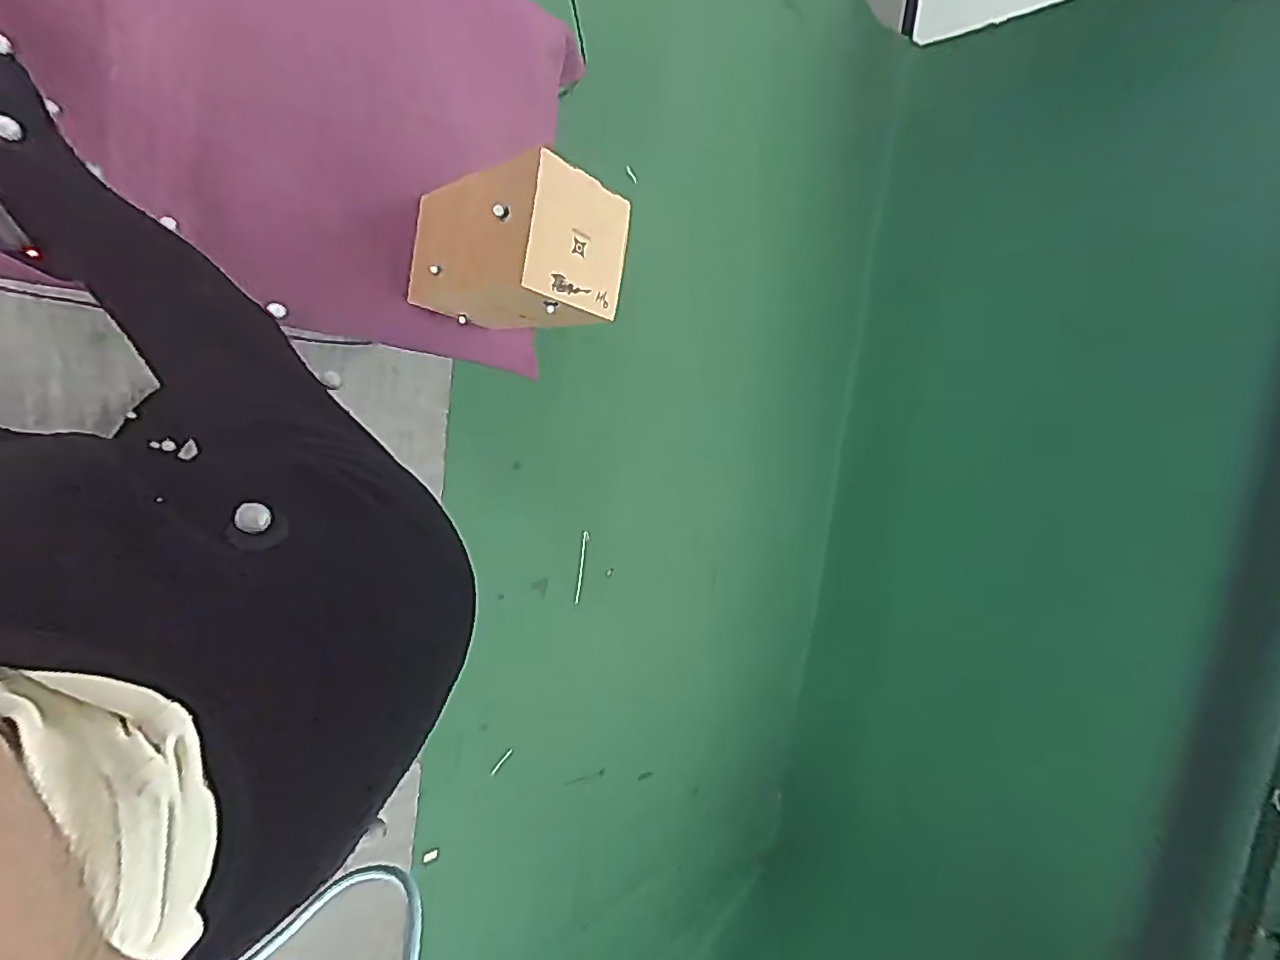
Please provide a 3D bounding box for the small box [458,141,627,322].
[{"bbox_3d":[-0.143,-0.339,0.780,0.168,0.176,0.179,5,94,-47],"label":"small box"}]
